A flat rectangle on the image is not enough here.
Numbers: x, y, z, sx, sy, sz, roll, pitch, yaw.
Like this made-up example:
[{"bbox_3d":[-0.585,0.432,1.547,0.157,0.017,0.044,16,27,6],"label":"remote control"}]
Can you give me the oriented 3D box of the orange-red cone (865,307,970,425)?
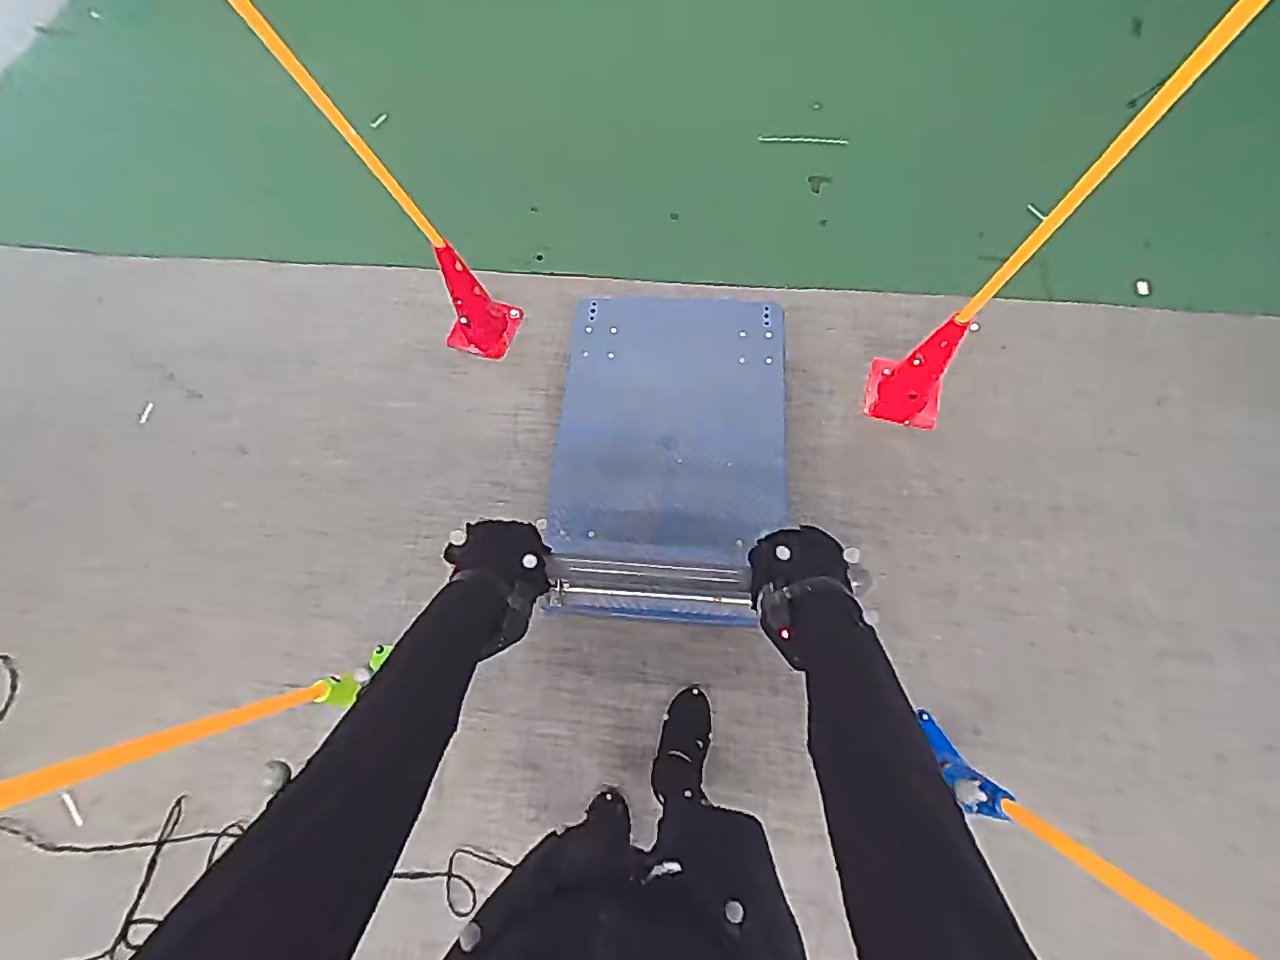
[{"bbox_3d":[0.746,-0.319,1.393,0.198,0.360,0.199,15,73,10],"label":"orange-red cone"}]
